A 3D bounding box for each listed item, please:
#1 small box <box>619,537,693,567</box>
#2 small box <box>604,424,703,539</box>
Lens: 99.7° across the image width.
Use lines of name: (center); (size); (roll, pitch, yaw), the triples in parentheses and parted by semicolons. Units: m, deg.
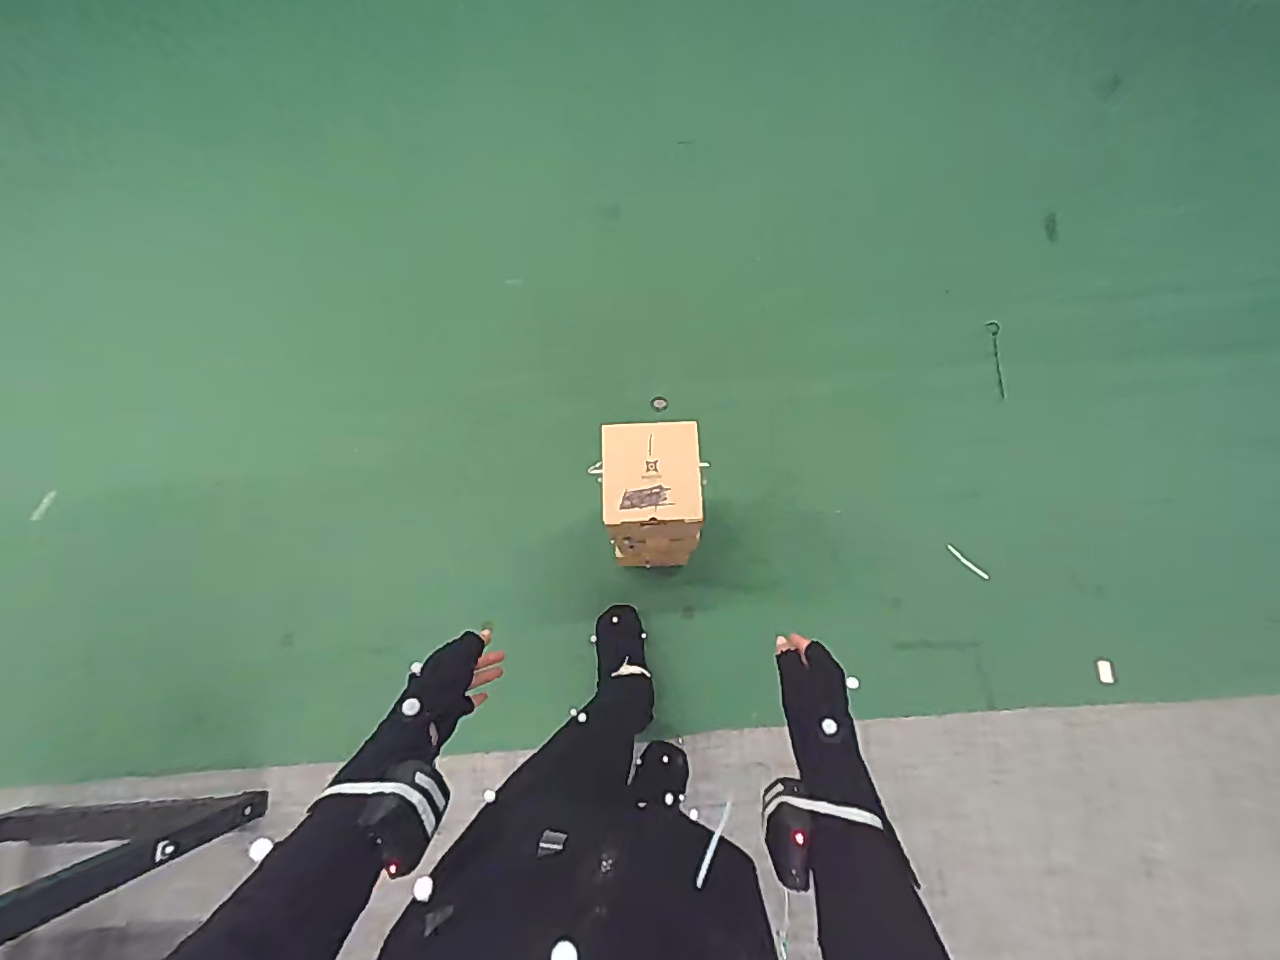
small box: (0.036, 0.112, 1.295); (0.168, 0.176, 0.179); (-2, 75, 2)
small box: (0.025, 0.011, 0.981); (0.168, 0.176, 0.179); (-2, 73, 1)
